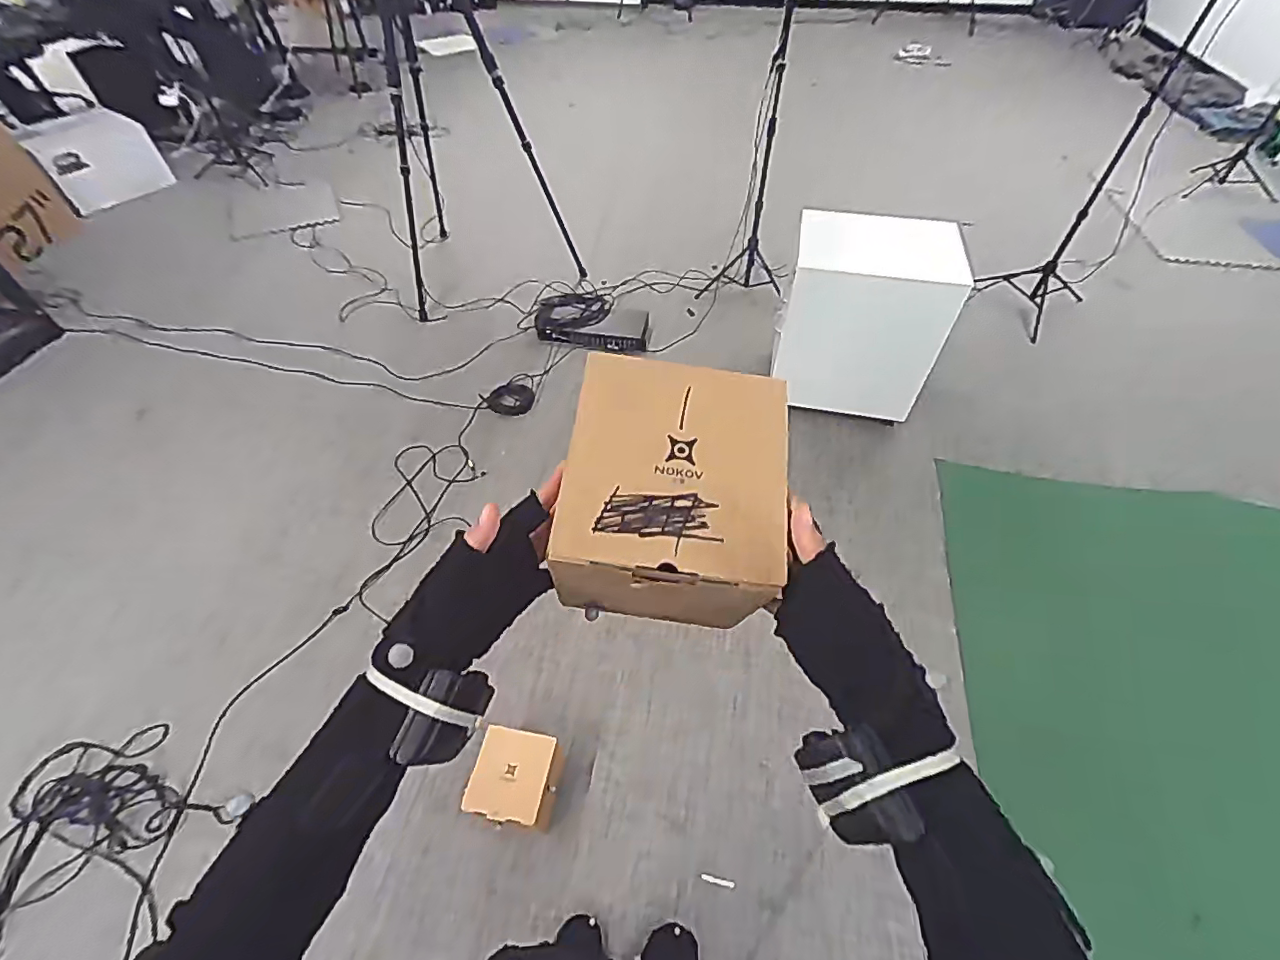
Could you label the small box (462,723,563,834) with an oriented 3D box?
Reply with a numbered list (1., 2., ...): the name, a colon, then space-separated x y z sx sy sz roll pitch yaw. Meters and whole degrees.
1. small box: -0.281 0.686 1.241 0.168 0.176 0.179 8 51 8
